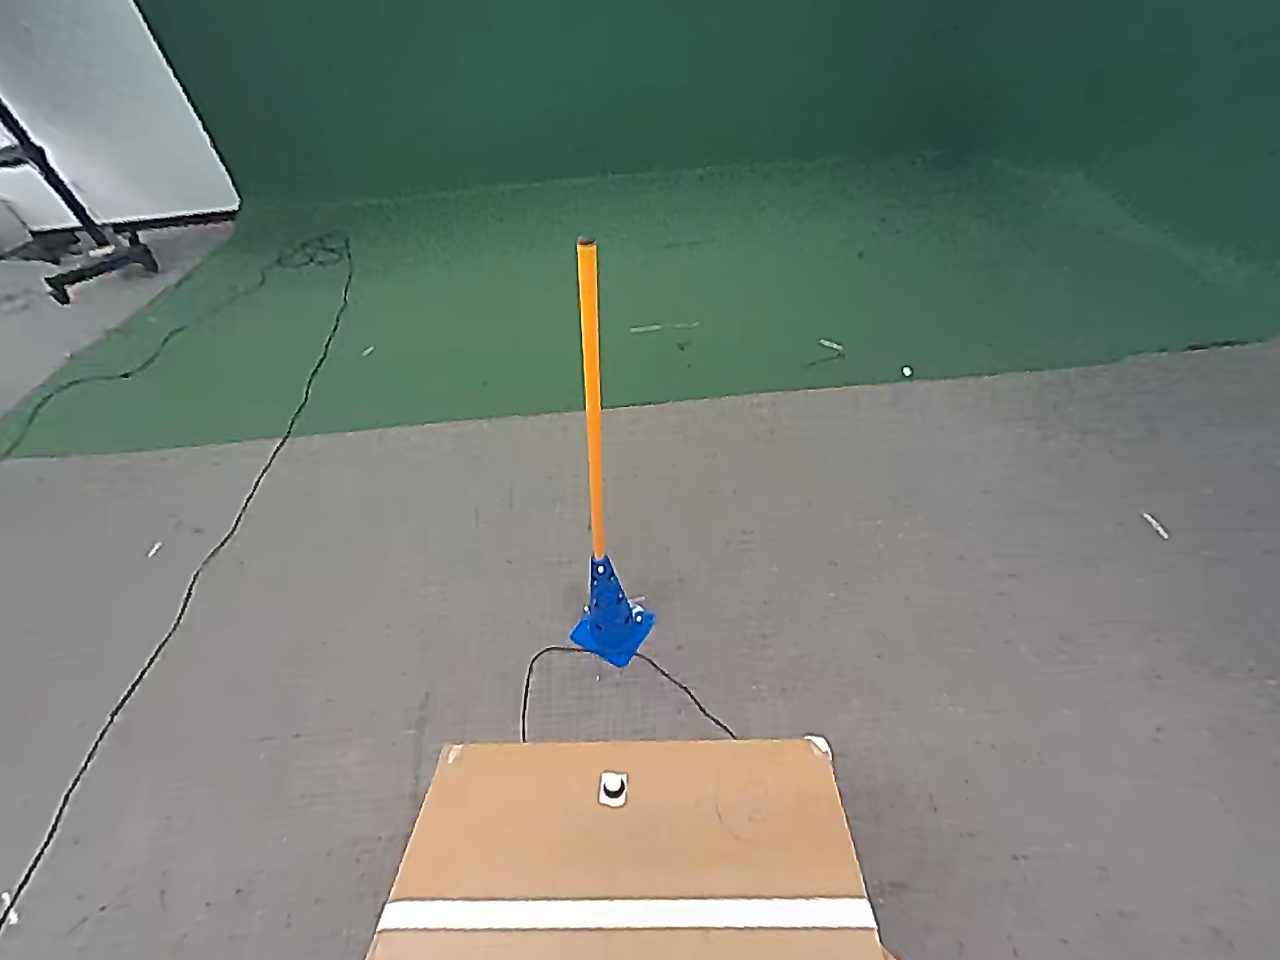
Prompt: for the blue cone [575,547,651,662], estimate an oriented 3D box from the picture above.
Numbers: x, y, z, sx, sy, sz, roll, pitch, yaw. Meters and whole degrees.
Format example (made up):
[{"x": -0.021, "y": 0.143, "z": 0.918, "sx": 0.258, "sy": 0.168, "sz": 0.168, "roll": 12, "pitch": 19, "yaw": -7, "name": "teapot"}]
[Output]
[{"x": -0.090, "y": 0.312, "z": 1.488, "sx": 0.192, "sy": 0.380, "sz": 0.193, "roll": 20, "pitch": 49, "yaw": 22, "name": "blue cone"}]
